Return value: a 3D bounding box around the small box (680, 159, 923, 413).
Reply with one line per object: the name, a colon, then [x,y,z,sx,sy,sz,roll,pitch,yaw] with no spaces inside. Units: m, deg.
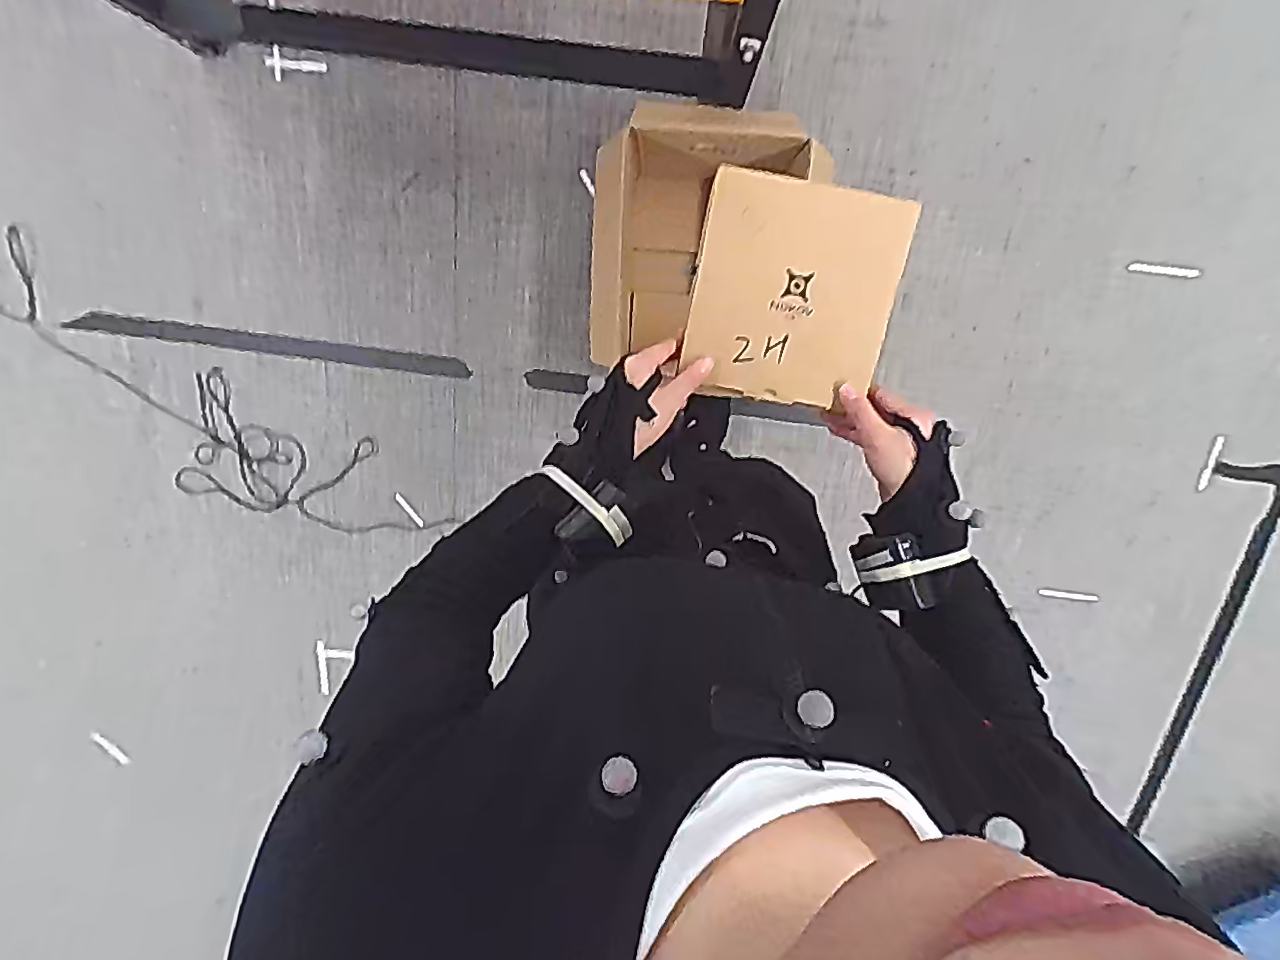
small box: [0.133,-0.175,0.522,0.168,0.176,0.179,11,105,2]
